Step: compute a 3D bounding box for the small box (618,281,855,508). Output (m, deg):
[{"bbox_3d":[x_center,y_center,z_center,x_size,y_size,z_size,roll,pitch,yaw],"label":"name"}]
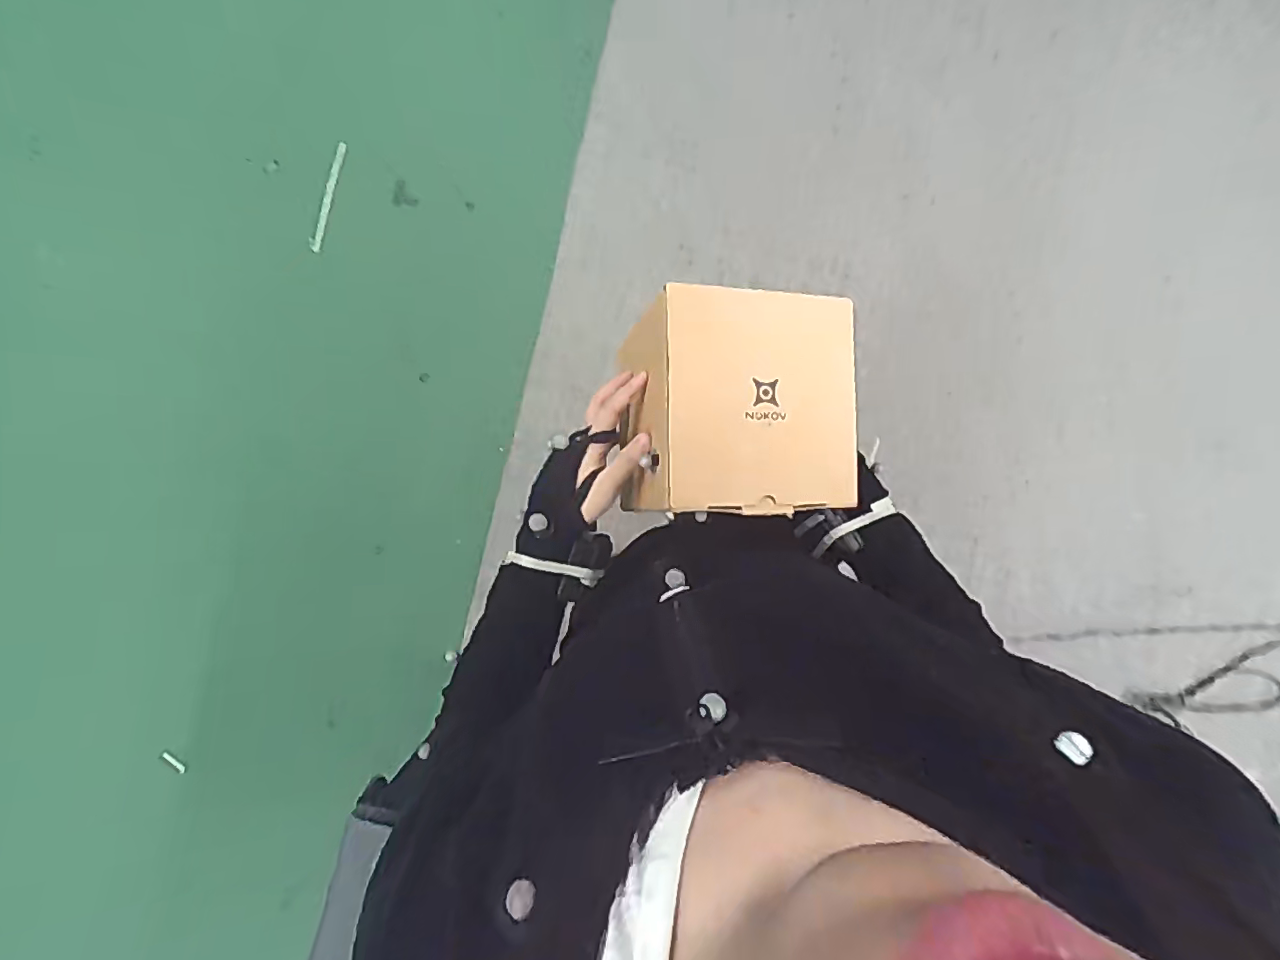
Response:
[{"bbox_3d":[0.077,-0.064,0.509,0.168,0.176,0.179,-1,88,-15],"label":"small box"}]
